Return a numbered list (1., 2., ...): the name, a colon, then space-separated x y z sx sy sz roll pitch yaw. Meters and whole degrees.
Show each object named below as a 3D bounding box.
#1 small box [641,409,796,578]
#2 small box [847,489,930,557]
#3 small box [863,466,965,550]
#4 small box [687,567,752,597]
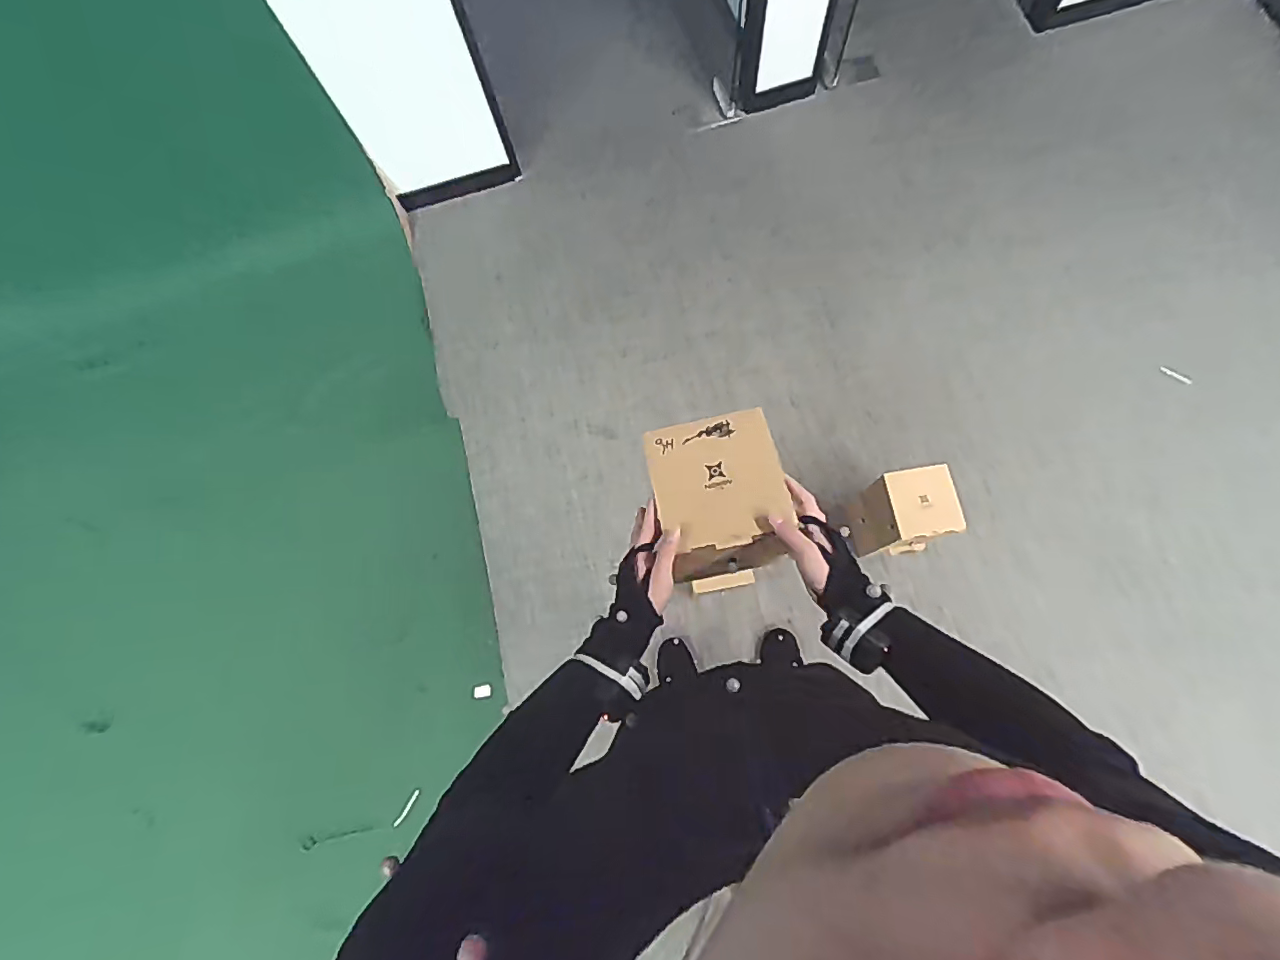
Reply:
1. small box: 0.105 0.030 0.753 0.168 0.176 0.179 -12 67 2
2. small box: 0.716 0.125 1.579 0.168 0.176 0.179 -5 75 5
3. small box: 0.711 0.078 1.426 0.168 0.176 0.179 -9 75 1
4. small box: 0.220 0.247 1.586 0.179 0.176 0.168 -10 75 1
